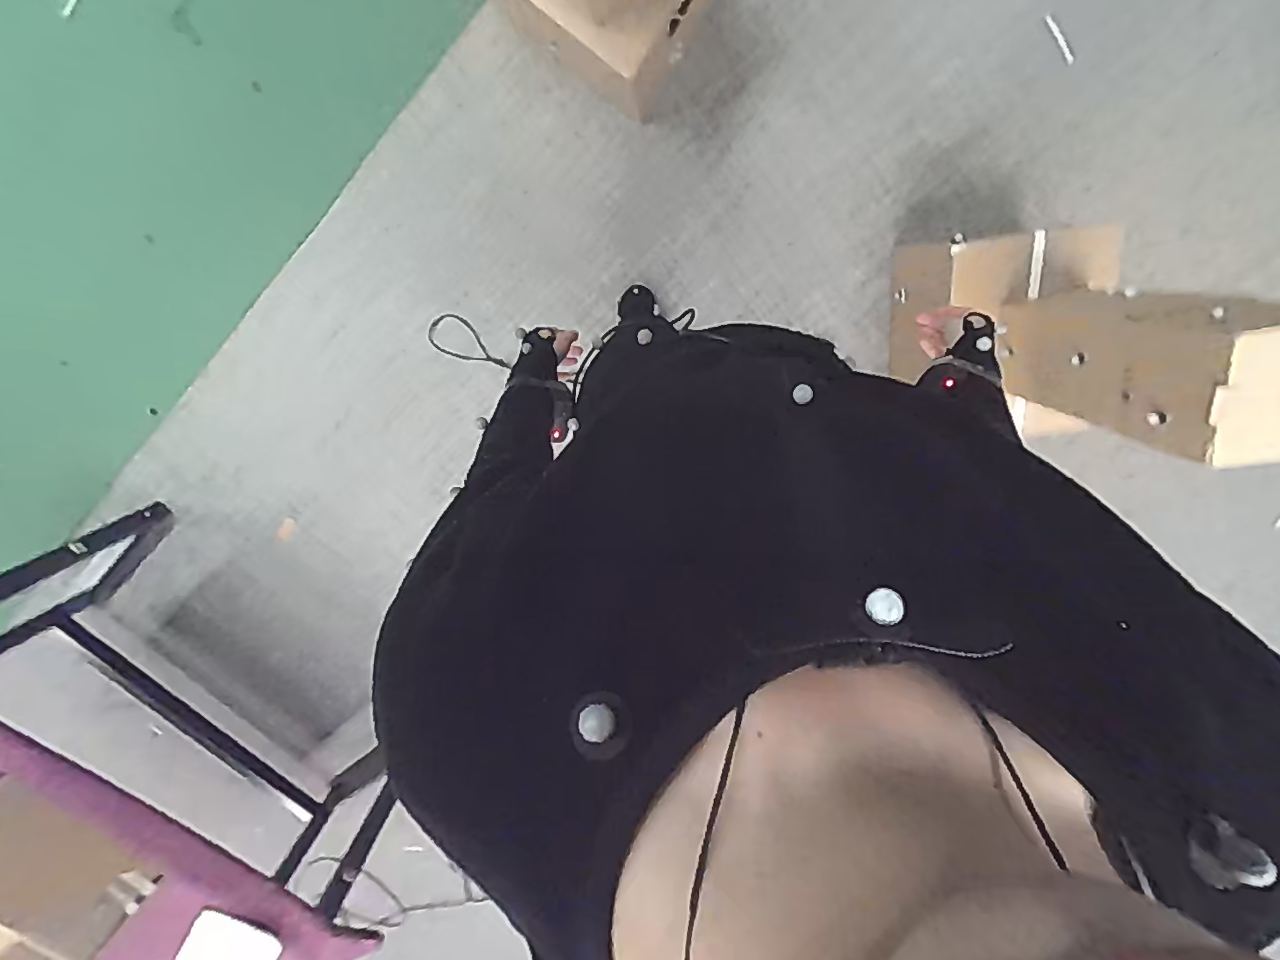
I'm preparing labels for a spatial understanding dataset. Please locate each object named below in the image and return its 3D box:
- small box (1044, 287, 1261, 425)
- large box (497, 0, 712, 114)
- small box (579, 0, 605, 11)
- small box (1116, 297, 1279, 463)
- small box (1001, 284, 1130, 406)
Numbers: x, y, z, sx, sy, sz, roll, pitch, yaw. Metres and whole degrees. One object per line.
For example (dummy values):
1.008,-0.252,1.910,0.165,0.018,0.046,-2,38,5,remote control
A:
0.774,-0.198,0.842,0.168,0.176,0.179,-6,110,5,small box
-0.077,-0.995,1.018,0.408,0.320,0.320,34,109,-8,large box
-0.087,-0.867,0.804,0.168,0.176,0.179,39,109,-12,small box
0.770,-0.134,0.692,0.179,0.176,0.168,-8,112,5,small box
0.799,-0.253,0.996,0.168,0.176,0.179,-10,112,6,small box
